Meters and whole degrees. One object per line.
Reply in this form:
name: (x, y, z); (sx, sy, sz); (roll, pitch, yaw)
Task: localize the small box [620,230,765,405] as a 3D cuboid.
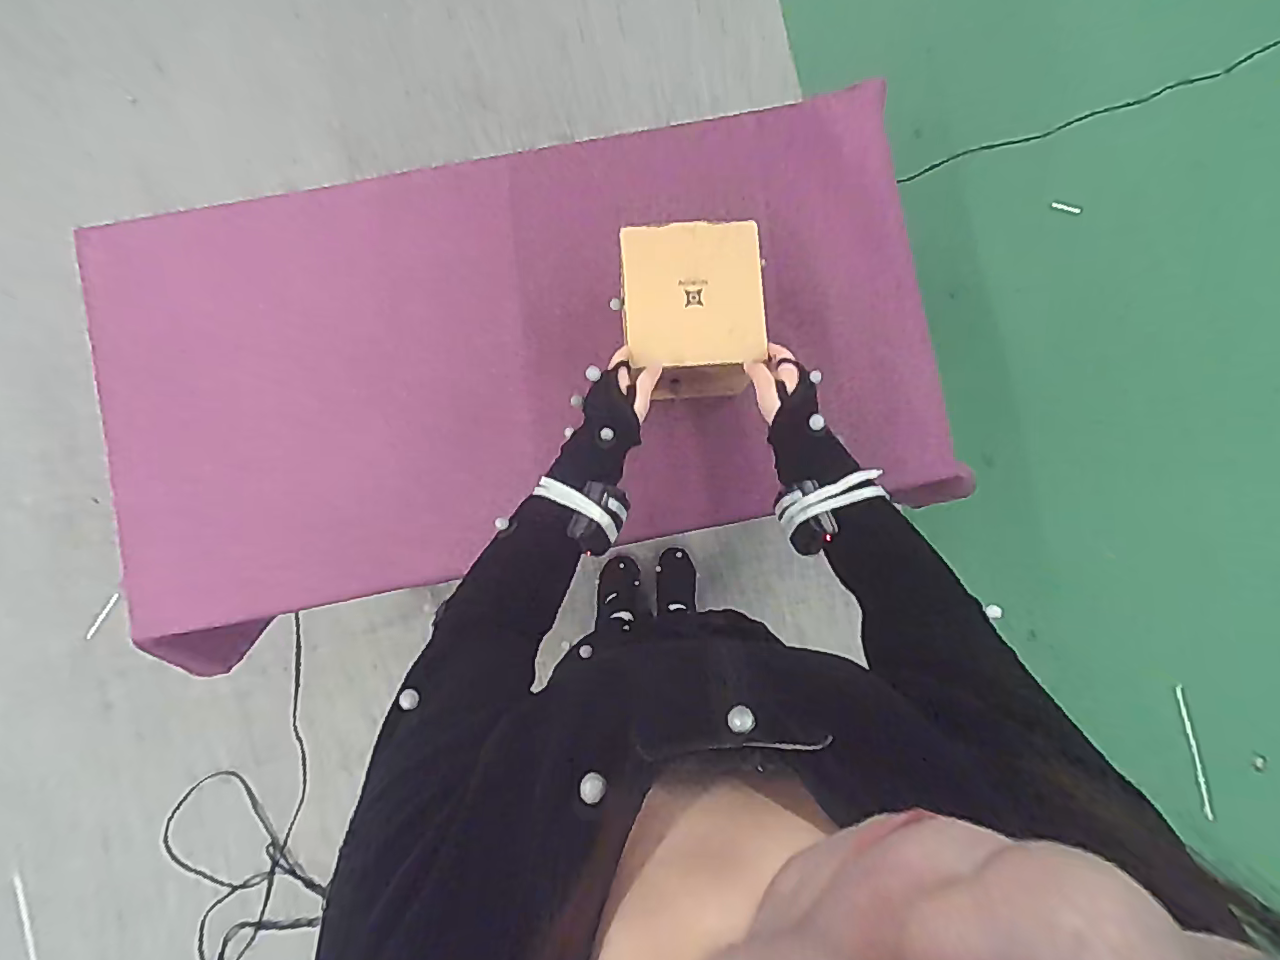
small box: (0.062, -0.201, 0.717); (0.168, 0.176, 0.179); (-3, 83, -1)
